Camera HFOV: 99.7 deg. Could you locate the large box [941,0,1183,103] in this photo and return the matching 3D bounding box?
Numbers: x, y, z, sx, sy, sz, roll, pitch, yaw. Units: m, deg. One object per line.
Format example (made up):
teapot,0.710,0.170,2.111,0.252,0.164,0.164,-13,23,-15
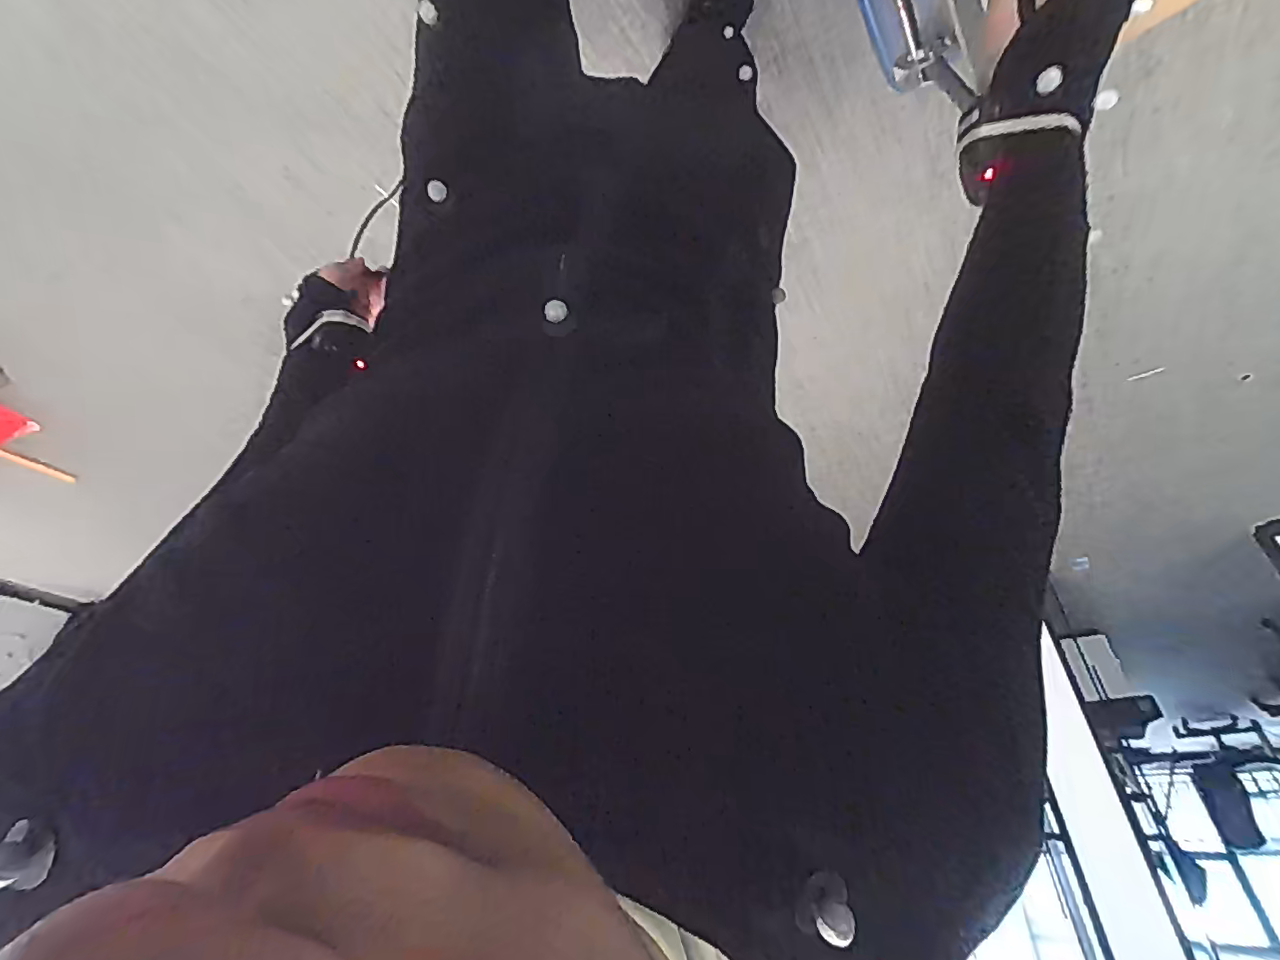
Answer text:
large box,0.609,-0.807,0.682,0.408,0.320,0.320,-24,138,31
